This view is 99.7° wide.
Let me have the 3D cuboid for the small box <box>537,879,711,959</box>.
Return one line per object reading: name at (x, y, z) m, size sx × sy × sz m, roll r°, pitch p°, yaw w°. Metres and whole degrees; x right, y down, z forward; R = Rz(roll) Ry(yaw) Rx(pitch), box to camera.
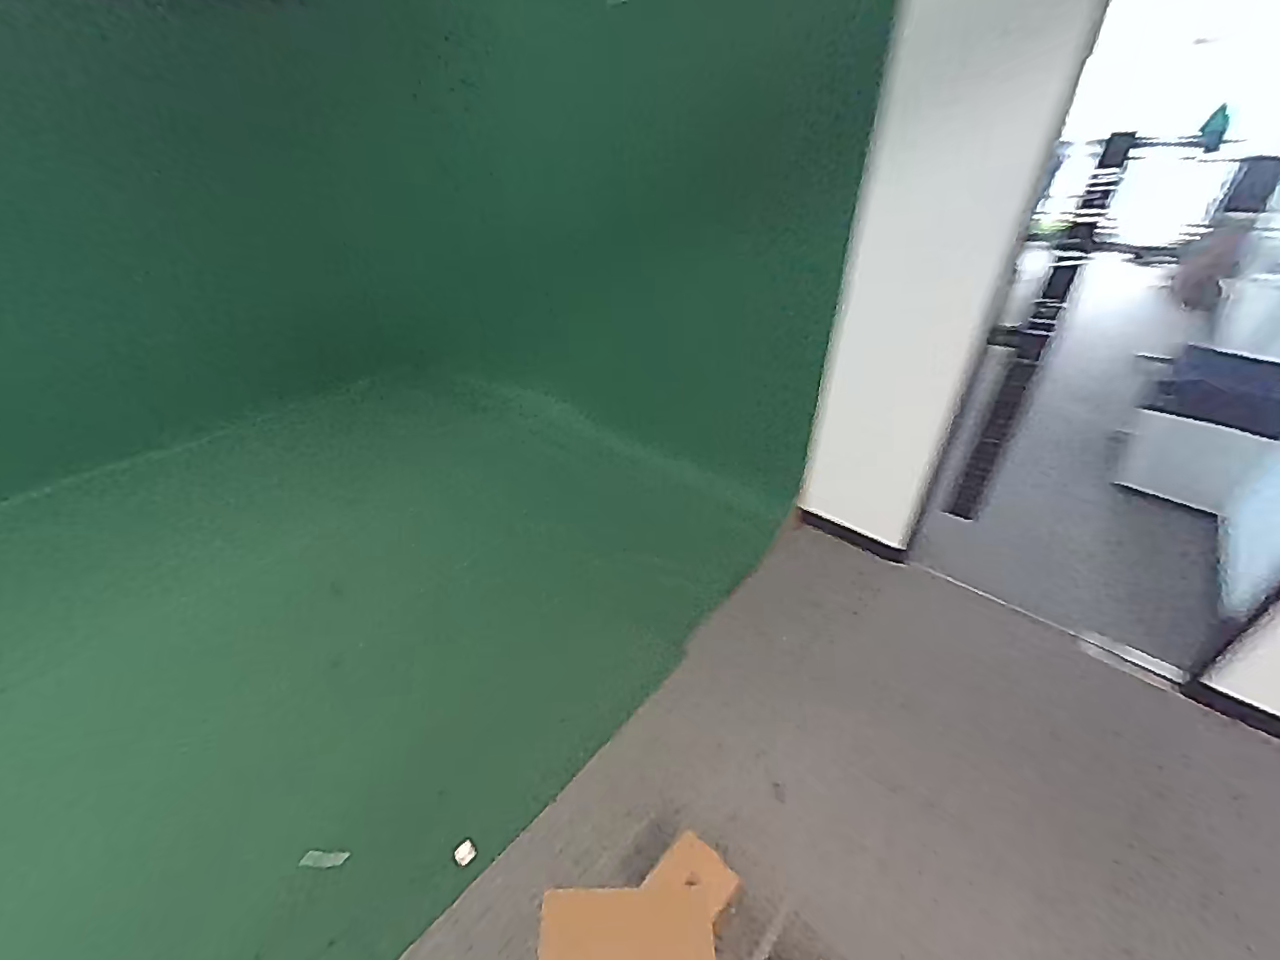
small box at (-0.019, 0.522, 0.521) m, size 0.168 × 0.176 × 0.179 m, roll 1°, pitch 33°, yaw -3°
